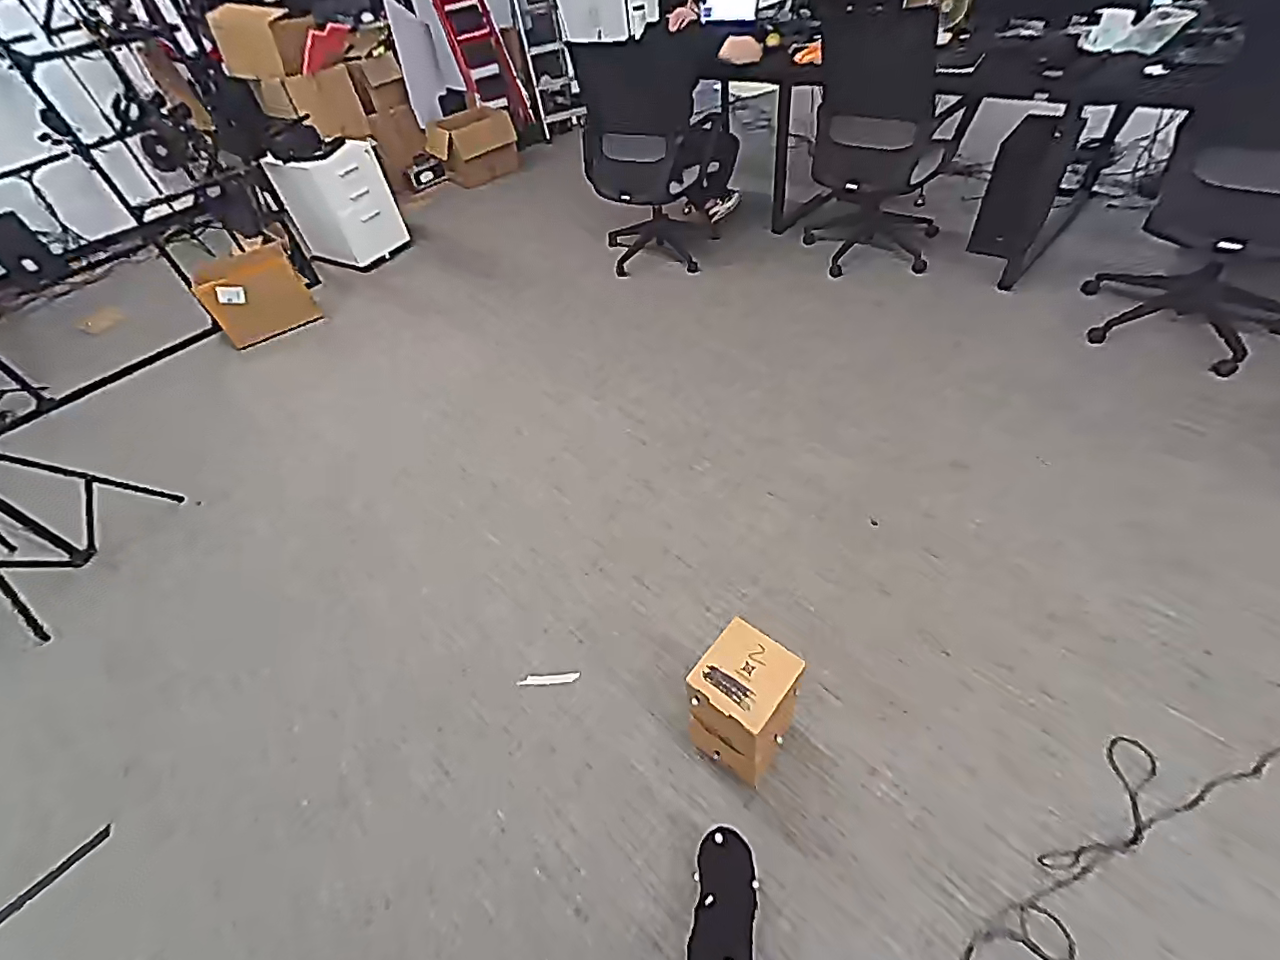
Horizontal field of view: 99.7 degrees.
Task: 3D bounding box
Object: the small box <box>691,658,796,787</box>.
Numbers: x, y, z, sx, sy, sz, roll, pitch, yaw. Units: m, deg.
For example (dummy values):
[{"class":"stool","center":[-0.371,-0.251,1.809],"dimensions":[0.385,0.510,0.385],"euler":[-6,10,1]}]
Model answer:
[{"class":"small box","center":[0.228,0.541,1.207],"dimensions":[0.168,0.176,0.179],"euler":[24,56,29]}]
